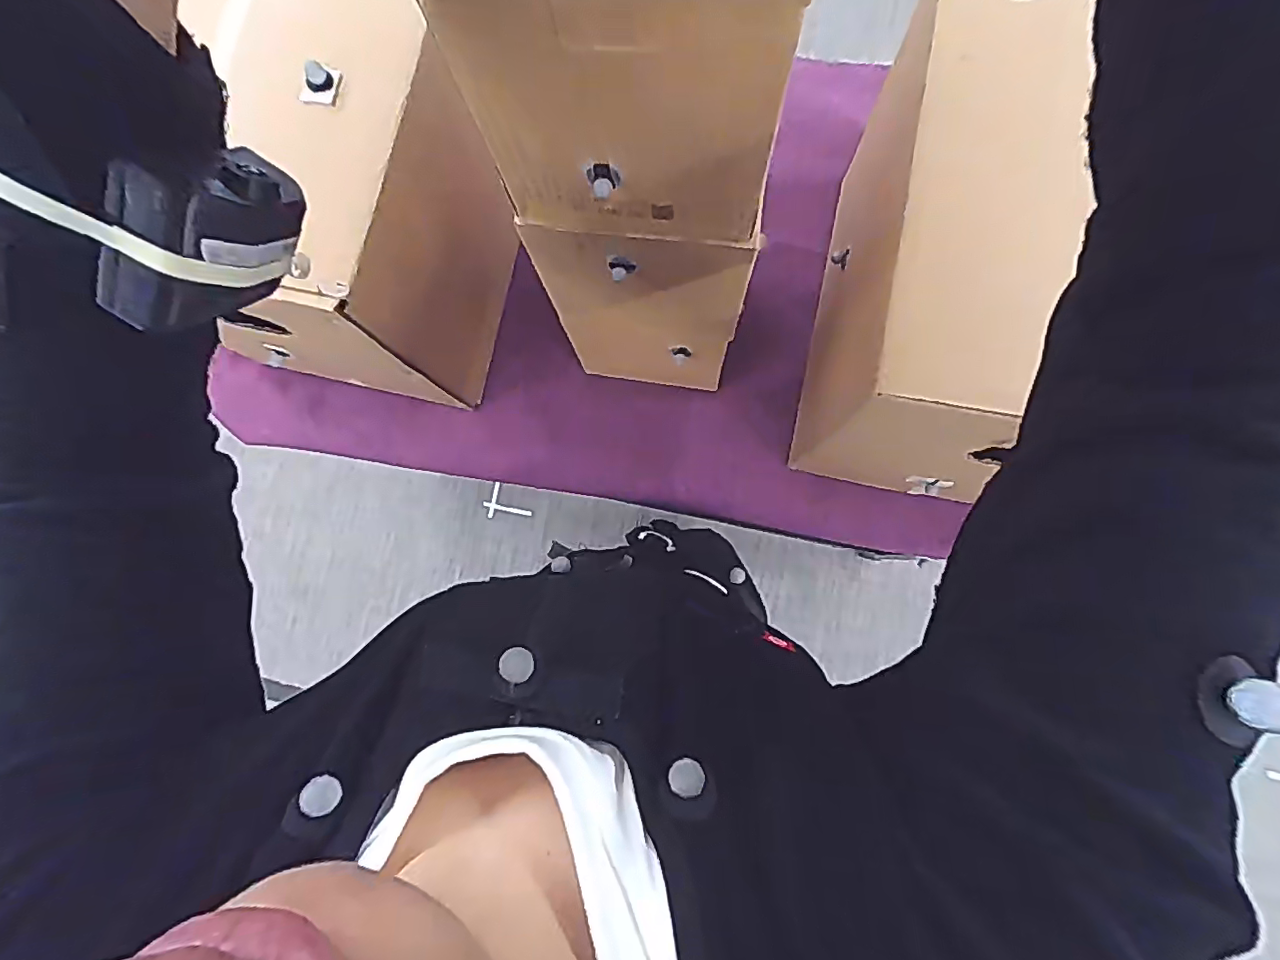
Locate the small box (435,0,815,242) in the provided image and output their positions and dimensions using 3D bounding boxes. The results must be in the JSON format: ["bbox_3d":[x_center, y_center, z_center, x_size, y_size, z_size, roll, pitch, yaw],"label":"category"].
[{"bbox_3d":[0.002,-0.266,0.301,0.168,0.176,0.179,7,84,5],"label":"small box"}]

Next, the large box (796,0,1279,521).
[{"bbox_3d":[0.359,-0.191,0.528,0.320,0.320,0.408,11,82,5],"label":"large box"}]
